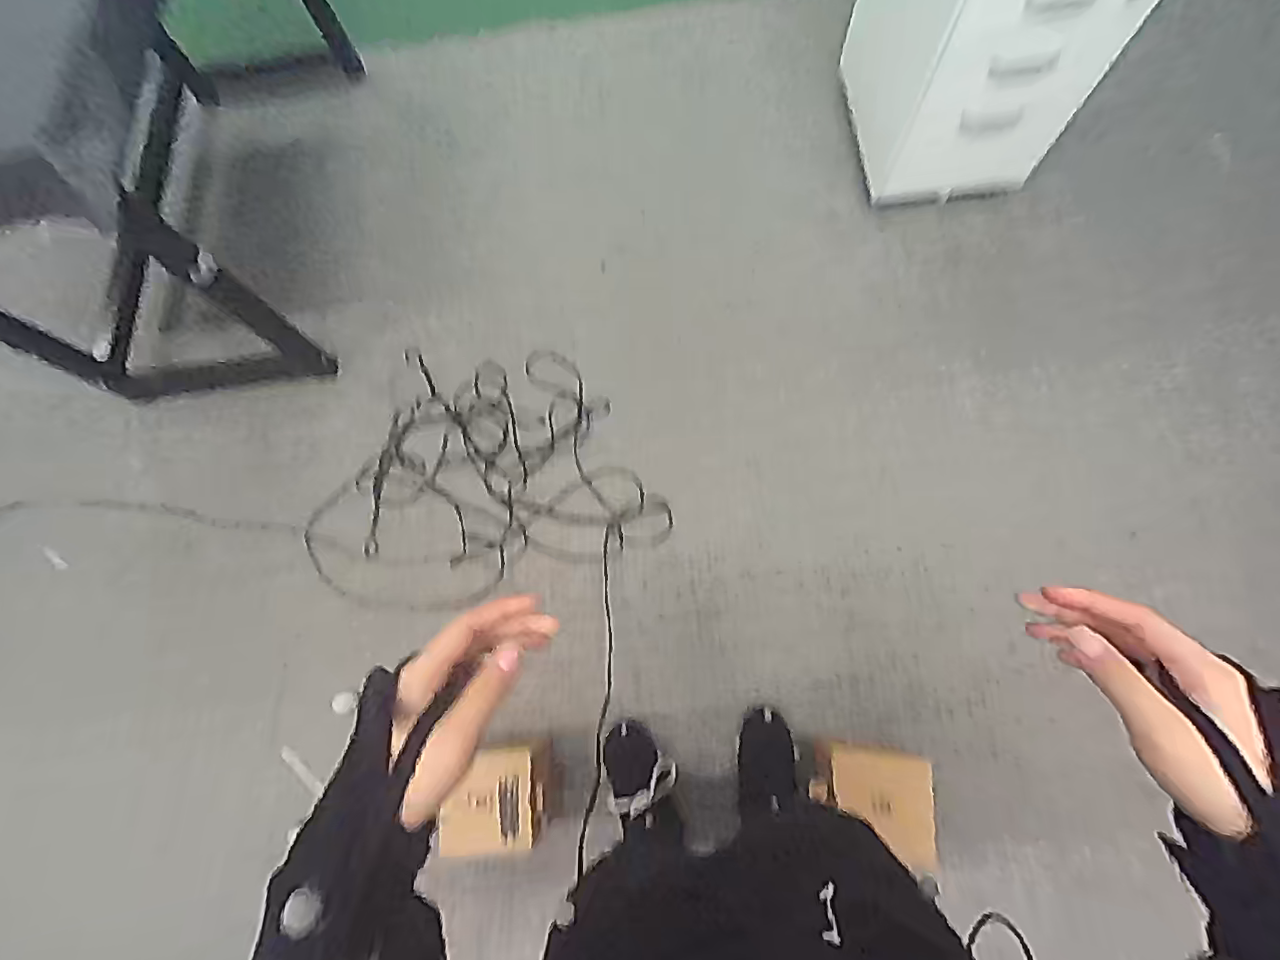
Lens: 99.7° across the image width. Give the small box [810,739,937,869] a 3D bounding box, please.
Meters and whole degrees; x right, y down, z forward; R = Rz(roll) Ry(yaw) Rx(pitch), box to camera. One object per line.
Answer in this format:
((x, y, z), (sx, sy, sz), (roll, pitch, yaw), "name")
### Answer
((0.433, 0.599, 1.023), (0.179, 0.176, 0.168), (4, 73, 6), "small box")
